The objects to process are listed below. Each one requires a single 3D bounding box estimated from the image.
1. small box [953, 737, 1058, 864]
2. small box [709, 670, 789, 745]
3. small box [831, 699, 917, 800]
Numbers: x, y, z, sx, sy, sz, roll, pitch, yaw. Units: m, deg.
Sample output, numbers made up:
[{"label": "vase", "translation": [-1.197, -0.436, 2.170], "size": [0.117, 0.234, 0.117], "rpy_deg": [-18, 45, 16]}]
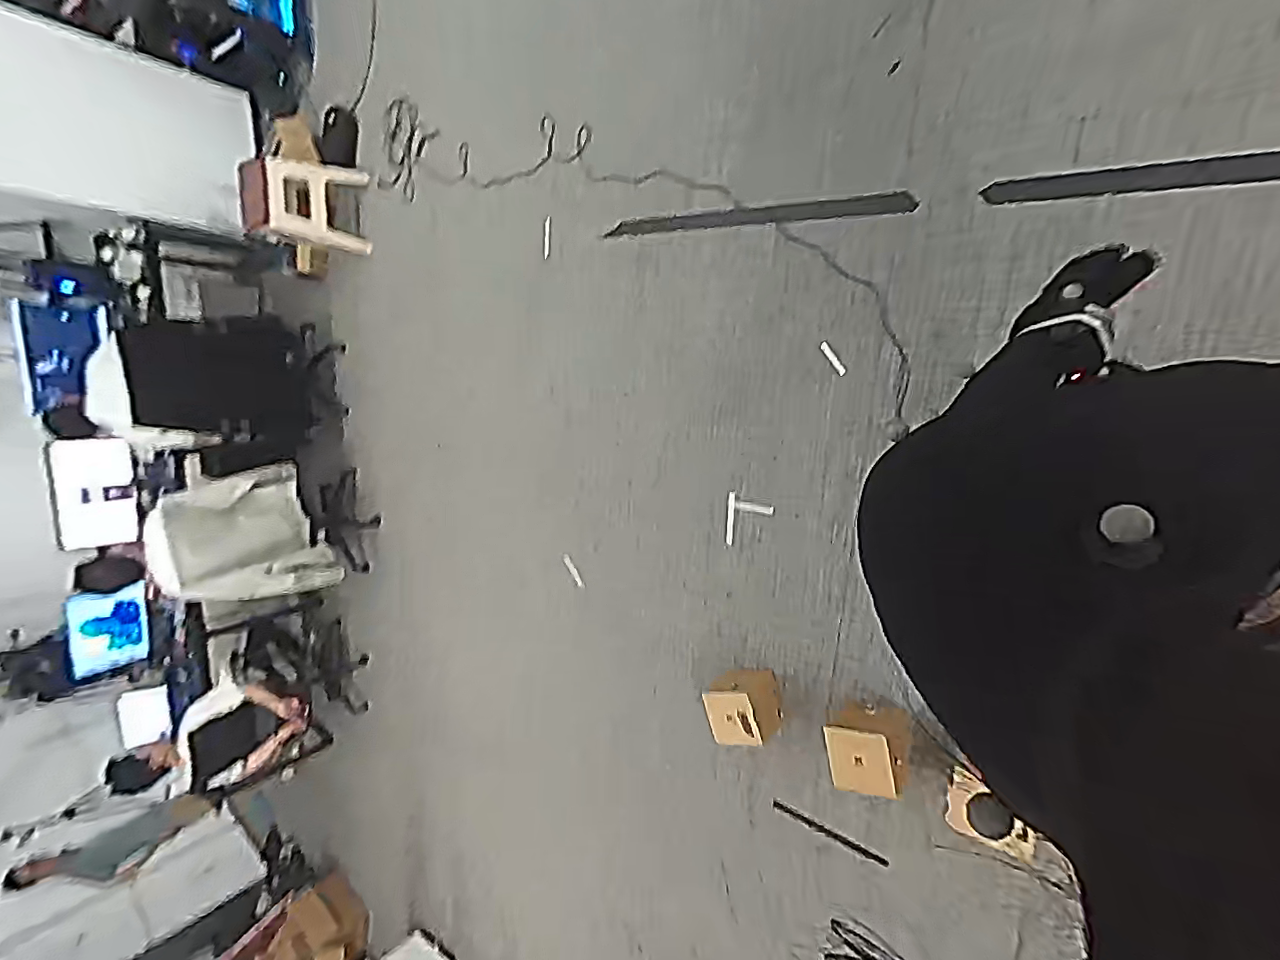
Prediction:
[{"label": "small box", "translation": [0.879, 0.753, 1.299], "size": [0.179, 0.176, 0.168], "rpy_deg": [12, 105, 37]}, {"label": "small box", "translation": [0.352, 0.714, 1.714], "size": [0.179, 0.176, 0.168], "rpy_deg": [-19, 85, 40]}, {"label": "small box", "translation": [0.646, 0.730, 1.482], "size": [0.168, 0.176, 0.179], "rpy_deg": [-10, 90, 38]}]
